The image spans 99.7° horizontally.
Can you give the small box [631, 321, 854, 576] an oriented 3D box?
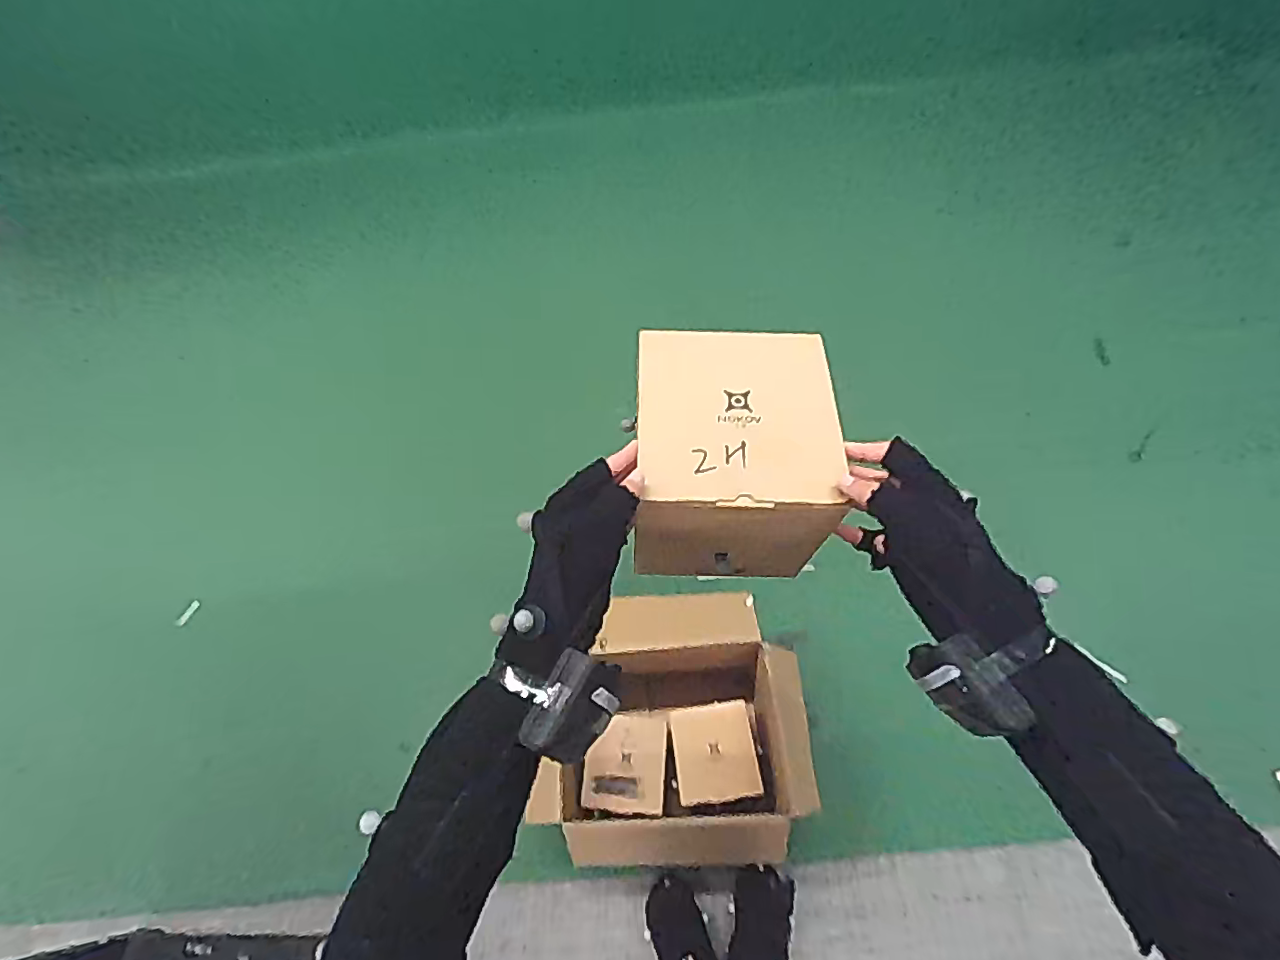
[{"bbox_3d":[0.077,-0.023,0.508,0.168,0.176,0.179,1,61,-1],"label":"small box"}]
